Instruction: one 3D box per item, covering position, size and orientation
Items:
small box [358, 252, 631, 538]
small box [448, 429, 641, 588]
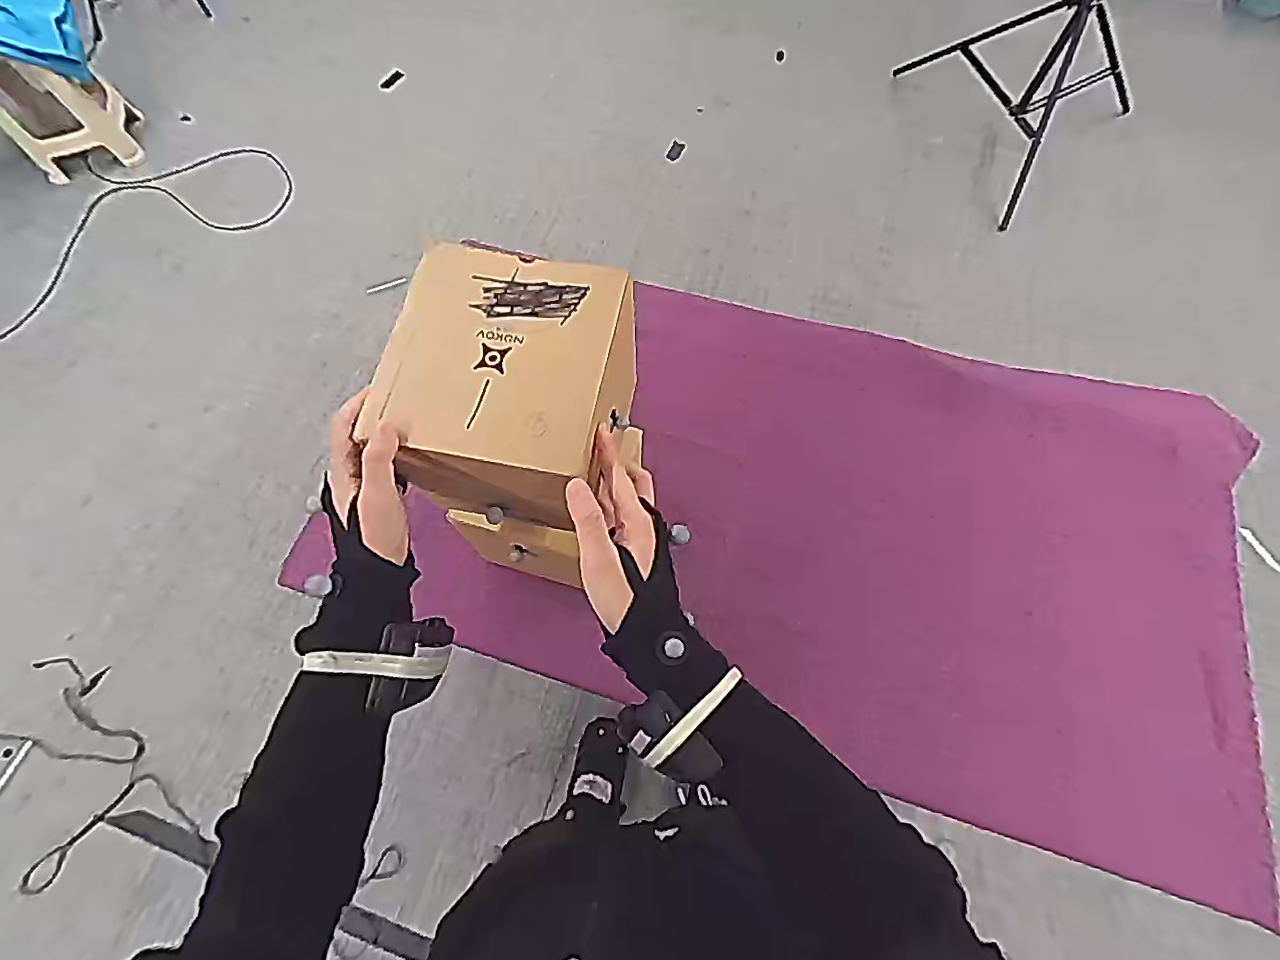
[{"bbox_3d":[-0.104,-0.064,0.480,0.168,0.176,0.179,10,71,5],"label":"small box"},{"bbox_3d":[-0.103,0.026,0.679,0.179,0.176,0.168,15,67,8],"label":"small box"}]
